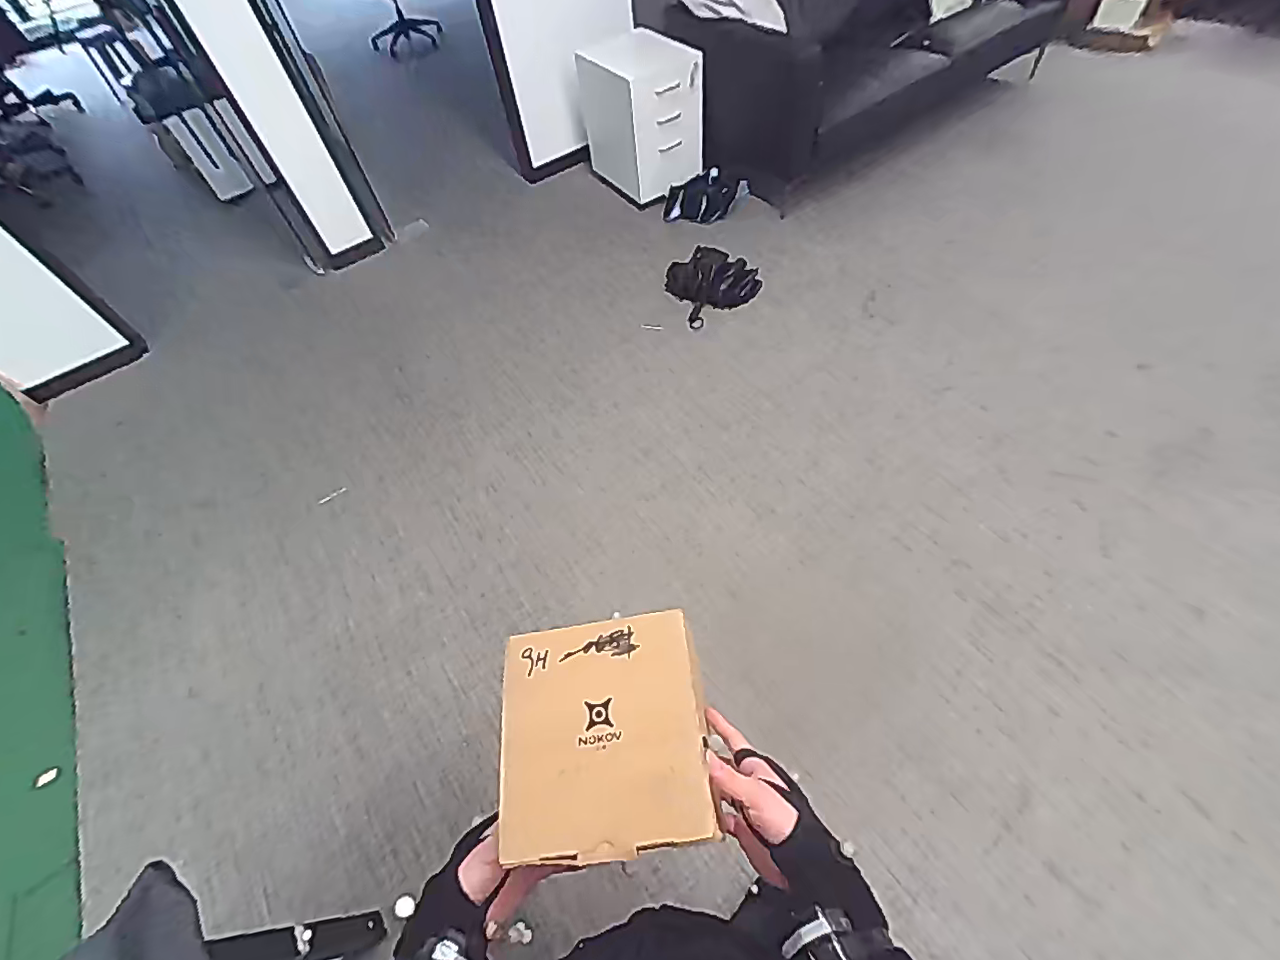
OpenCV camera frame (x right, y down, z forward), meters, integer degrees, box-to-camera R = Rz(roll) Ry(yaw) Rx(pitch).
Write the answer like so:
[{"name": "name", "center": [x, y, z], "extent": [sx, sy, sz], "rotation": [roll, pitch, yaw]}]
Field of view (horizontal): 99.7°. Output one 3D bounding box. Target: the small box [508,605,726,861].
[{"name": "small box", "center": [-0.015, 0.236, 0.506], "extent": [0.168, 0.176, 0.179], "rotation": [-10, 57, 3]}]
